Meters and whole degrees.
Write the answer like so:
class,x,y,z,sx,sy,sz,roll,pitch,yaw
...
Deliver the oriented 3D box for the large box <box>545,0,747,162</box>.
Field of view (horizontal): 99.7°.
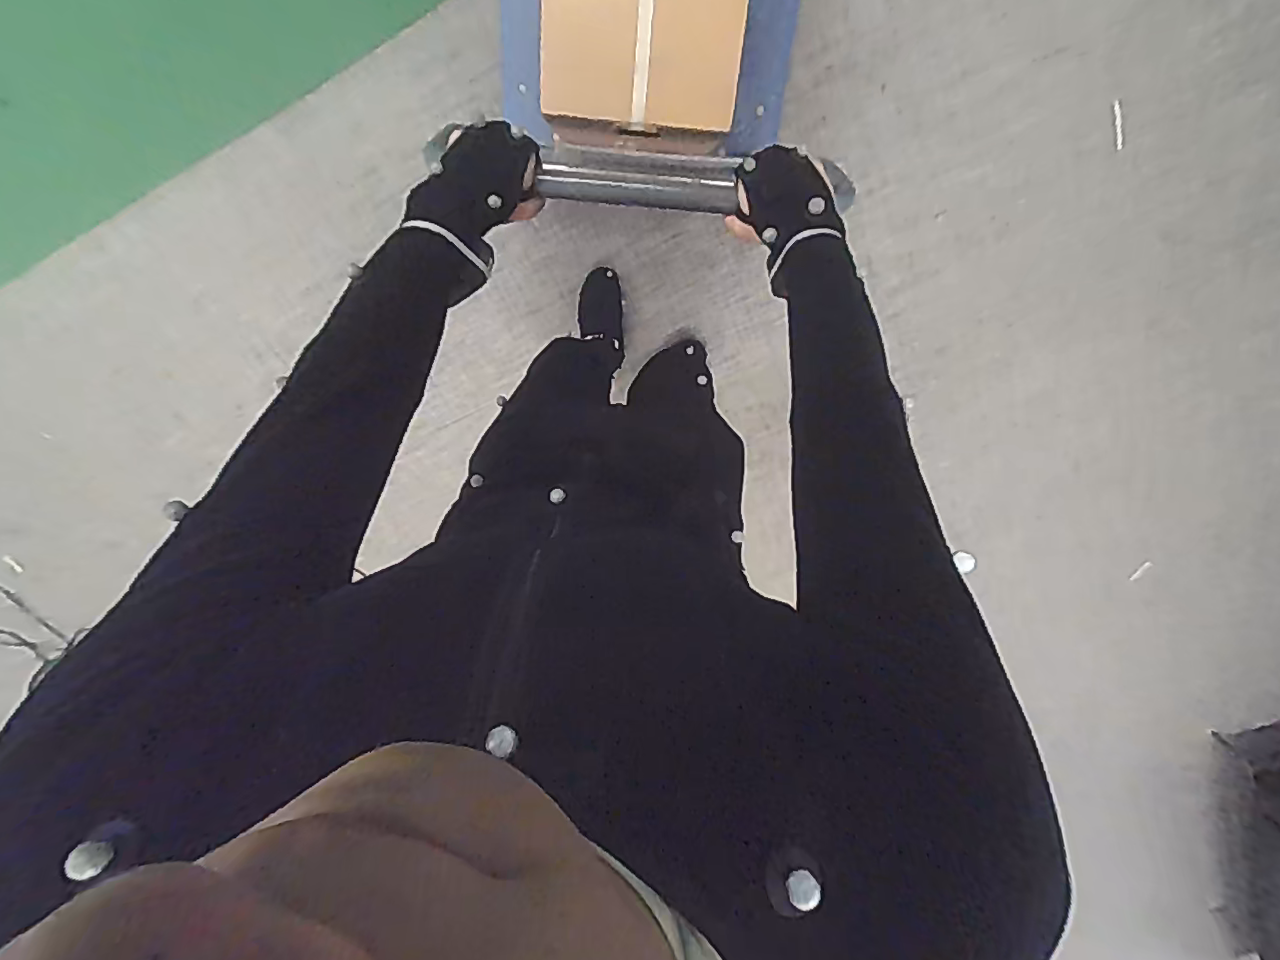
class,x,y,z,sx,sy,sz,roll,pitch,yaw
large box,0.013,-0.821,0.957,0.320,0.320,0.408,5,114,-3
